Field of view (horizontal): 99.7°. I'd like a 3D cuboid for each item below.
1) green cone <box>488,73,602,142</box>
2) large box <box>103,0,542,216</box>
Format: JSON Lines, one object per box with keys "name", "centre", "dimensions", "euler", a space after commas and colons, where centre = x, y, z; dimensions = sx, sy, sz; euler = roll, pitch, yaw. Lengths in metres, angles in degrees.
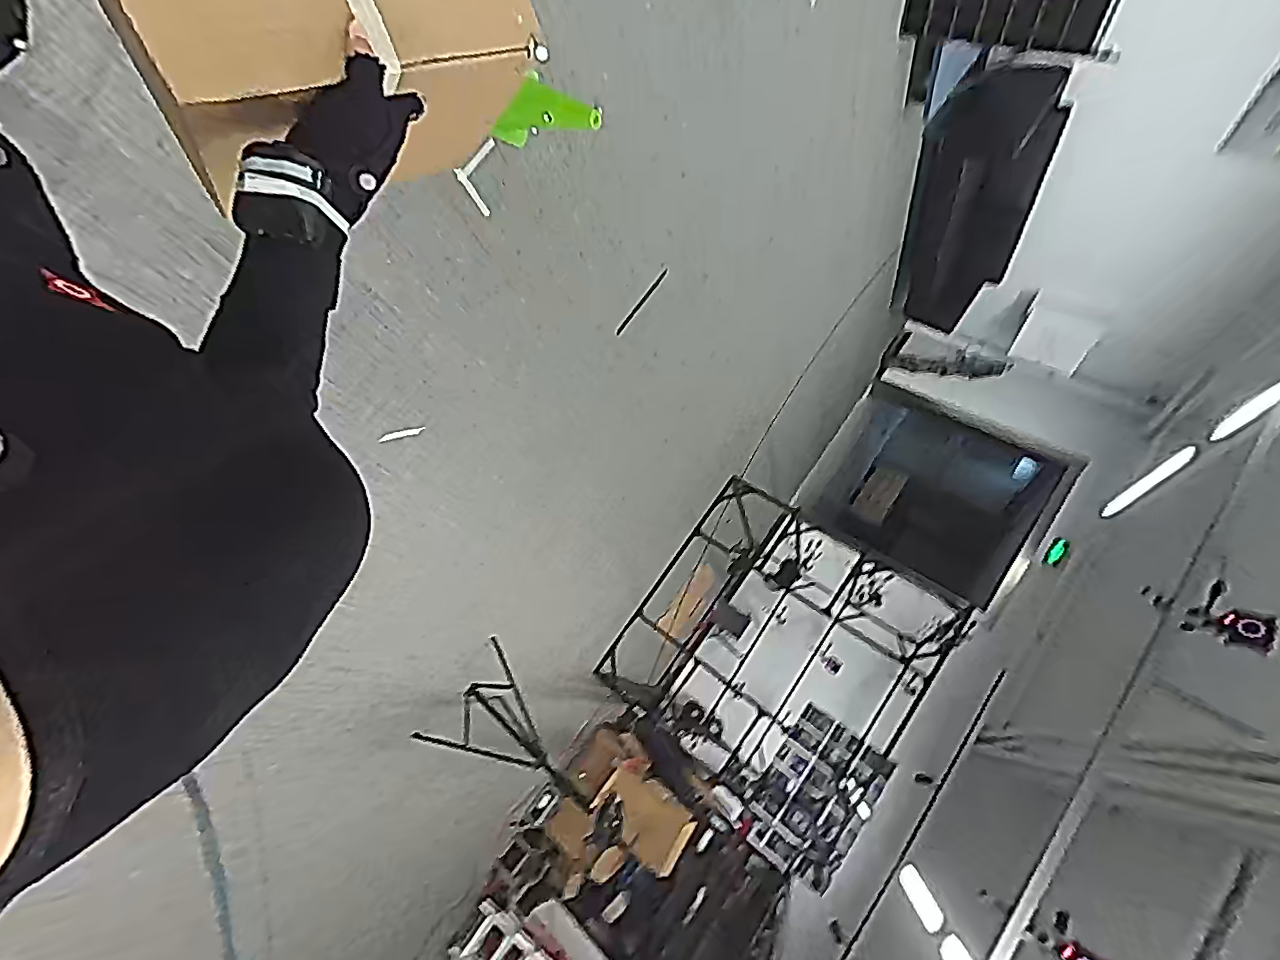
{"name": "green cone", "centre": [-0.251, -0.999, 1.442], "dimensions": [0.202, 0.368, 0.200], "euler": [-18, 135, -55]}
{"name": "large box", "centre": [-0.359, -0.535, 0.521], "dimensions": [0.320, 0.320, 0.408], "euler": [-30, 114, -24]}
